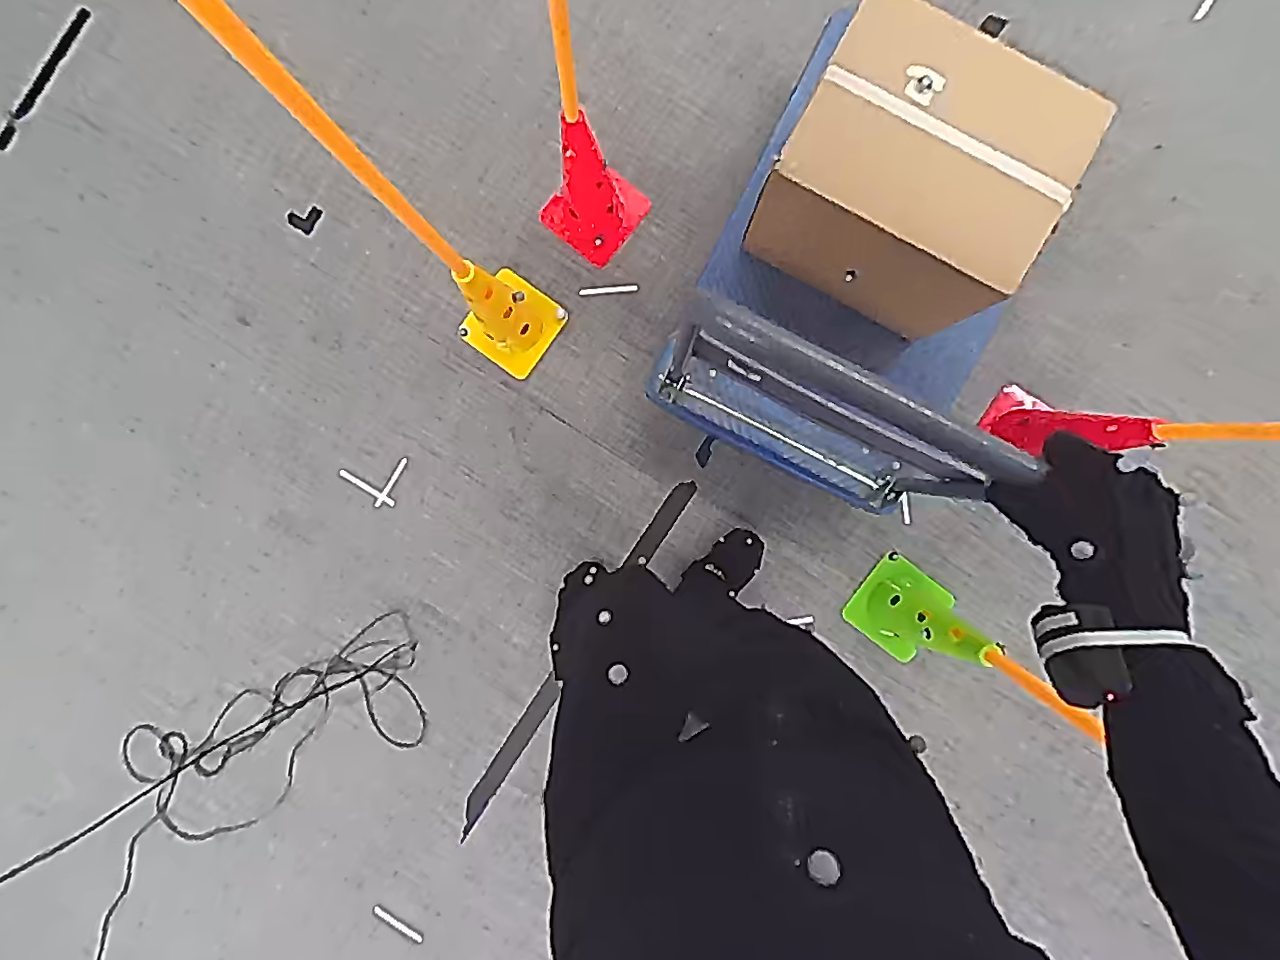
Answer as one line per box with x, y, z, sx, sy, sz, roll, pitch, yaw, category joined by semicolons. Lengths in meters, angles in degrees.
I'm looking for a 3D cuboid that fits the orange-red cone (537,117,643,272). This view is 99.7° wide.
-0.121;-0.620;1.120;0.198;0.360;0.199;40;90;0;orange-red cone

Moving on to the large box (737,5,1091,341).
0.434;-0.495;0.960;0.408;0.320;0.320;28;93;2;large box

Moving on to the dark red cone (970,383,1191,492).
0.882;-0.093;1.078;0.201;0.394;0.202;32;92;-1;dark red cone

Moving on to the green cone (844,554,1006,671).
0.608;0.306;1.108;0.202;0.368;0.200;36;92;0;green cone
